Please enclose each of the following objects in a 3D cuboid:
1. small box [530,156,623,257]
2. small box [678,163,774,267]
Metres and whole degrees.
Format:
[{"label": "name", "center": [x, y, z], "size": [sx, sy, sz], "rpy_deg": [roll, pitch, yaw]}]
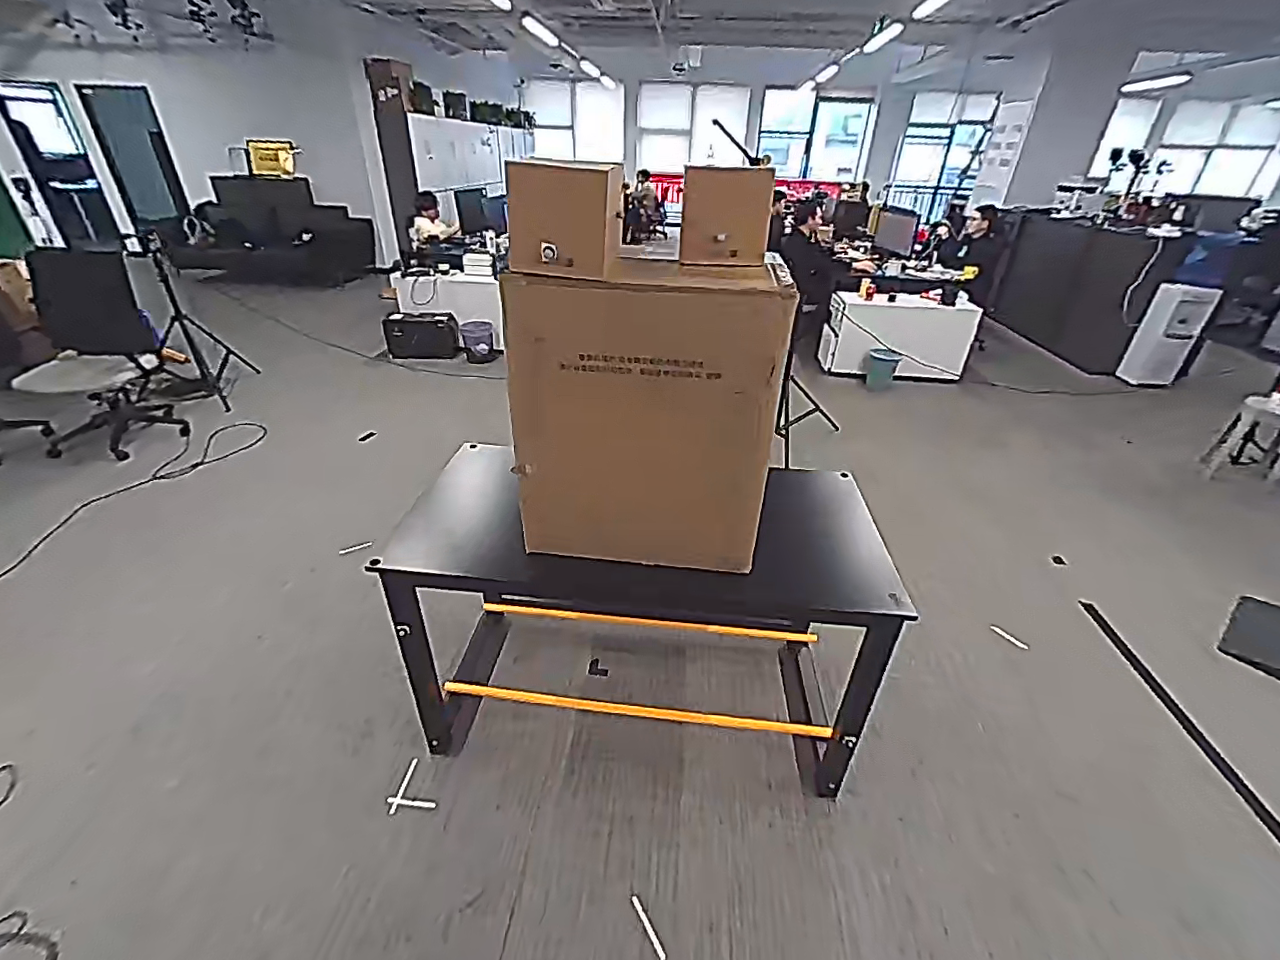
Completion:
[{"label": "small box", "center": [-0.127, -0.569, 1.125], "size": [0.168, 0.176, 0.179], "rpy_deg": [4, 29, 2]}, {"label": "small box", "center": [0.161, -0.530, 1.078], "size": [0.168, 0.176, 0.179], "rpy_deg": [2, 30, 2]}]
